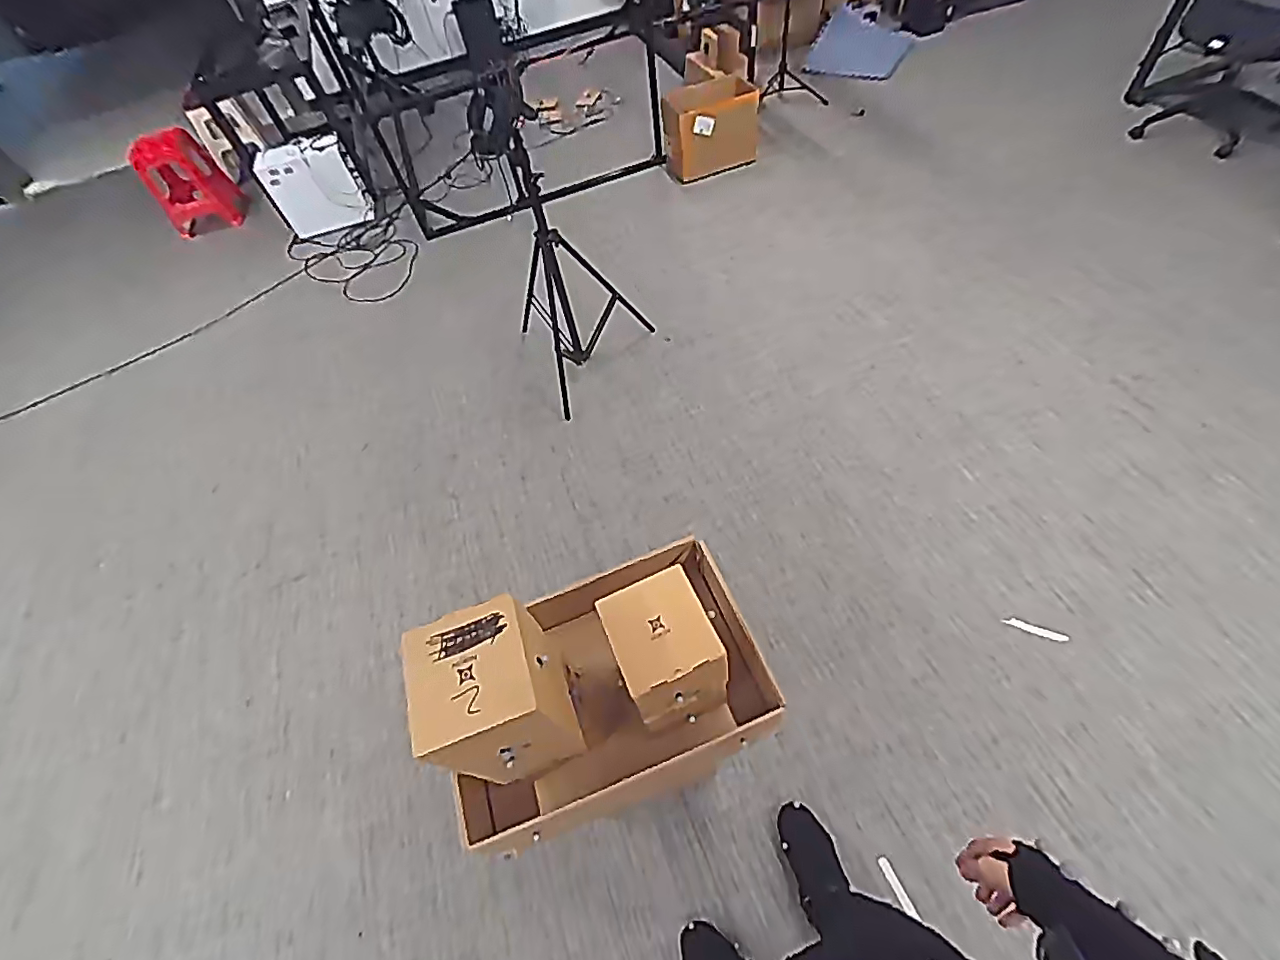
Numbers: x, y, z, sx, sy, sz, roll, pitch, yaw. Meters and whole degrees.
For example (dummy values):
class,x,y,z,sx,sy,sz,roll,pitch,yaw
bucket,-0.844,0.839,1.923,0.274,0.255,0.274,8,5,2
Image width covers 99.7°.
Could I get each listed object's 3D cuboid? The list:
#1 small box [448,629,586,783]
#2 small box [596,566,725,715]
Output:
class,x,y,z,sx,sy,sz,roll,pitch,yaw
small box,-0.207,0.391,0.928,0.168,0.176,0.179,-22,54,-4
small box,0.038,0.288,0.957,0.168,0.176,0.179,-24,56,-7
